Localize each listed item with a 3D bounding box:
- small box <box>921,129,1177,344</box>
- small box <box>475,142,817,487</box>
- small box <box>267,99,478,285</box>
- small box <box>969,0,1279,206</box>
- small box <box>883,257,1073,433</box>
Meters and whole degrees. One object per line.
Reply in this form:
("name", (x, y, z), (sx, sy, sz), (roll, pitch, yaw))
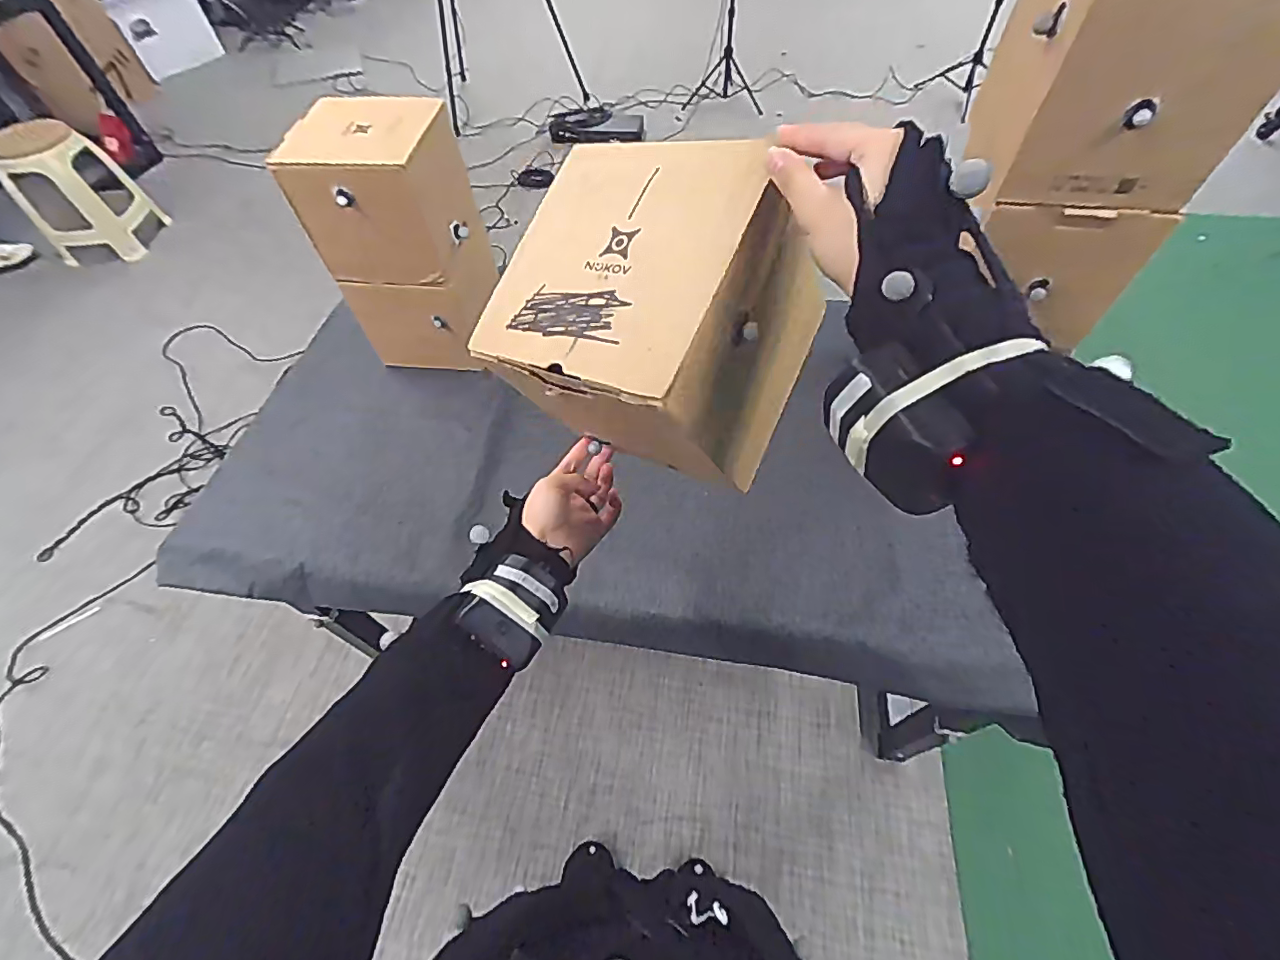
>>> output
("small box", (0.443, -0.280, 0.625), (0.168, 0.176, 0.179), (9, 58, 9))
("small box", (0.019, -0.114, 0.409), (0.168, 0.176, 0.179), (21, 80, 31))
("small box", (-0.344, -0.387, 0.736), (0.179, 0.176, 0.168), (4, 58, 4))
("small box", (0.428, -0.372, 0.488), (0.168, 0.176, 0.179), (8, 57, 8))
("small box", (0.455, -0.193, 0.763), (0.168, 0.176, 0.179), (9, 58, 9))
